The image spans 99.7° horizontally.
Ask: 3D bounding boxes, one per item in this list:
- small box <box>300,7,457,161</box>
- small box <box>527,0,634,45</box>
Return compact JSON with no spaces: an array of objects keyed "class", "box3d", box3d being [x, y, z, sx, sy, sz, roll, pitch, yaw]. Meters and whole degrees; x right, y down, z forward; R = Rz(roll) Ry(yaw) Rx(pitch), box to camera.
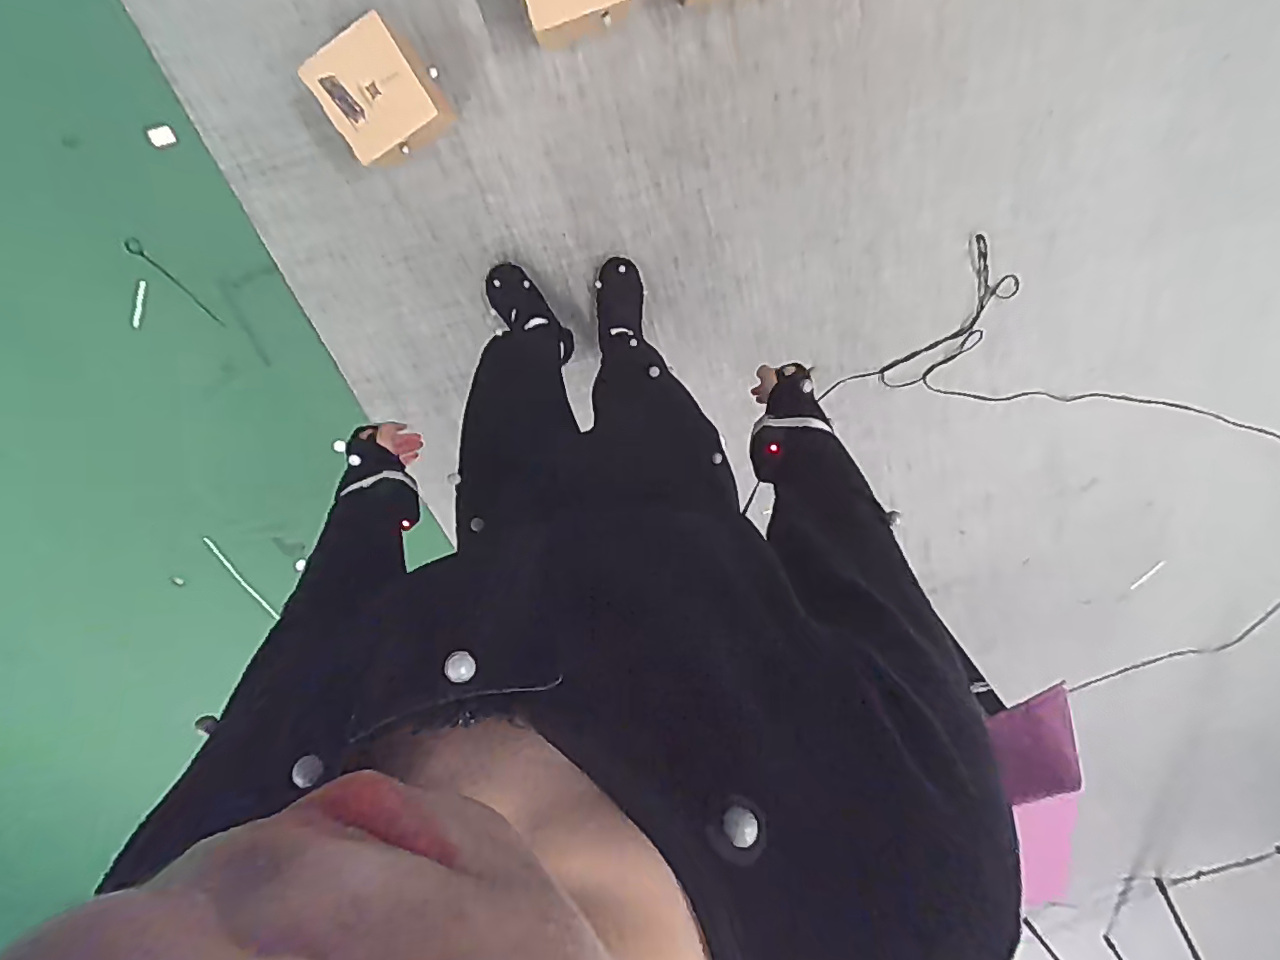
[{"class":"small box","box3d":[-0.472,-0.721,1.009,0.179,0.176,0.168,-26,120,11]},{"class":"small box","box3d":[-0.118,-0.887,0.933,0.179,0.176,0.168,-15,120,5]}]
